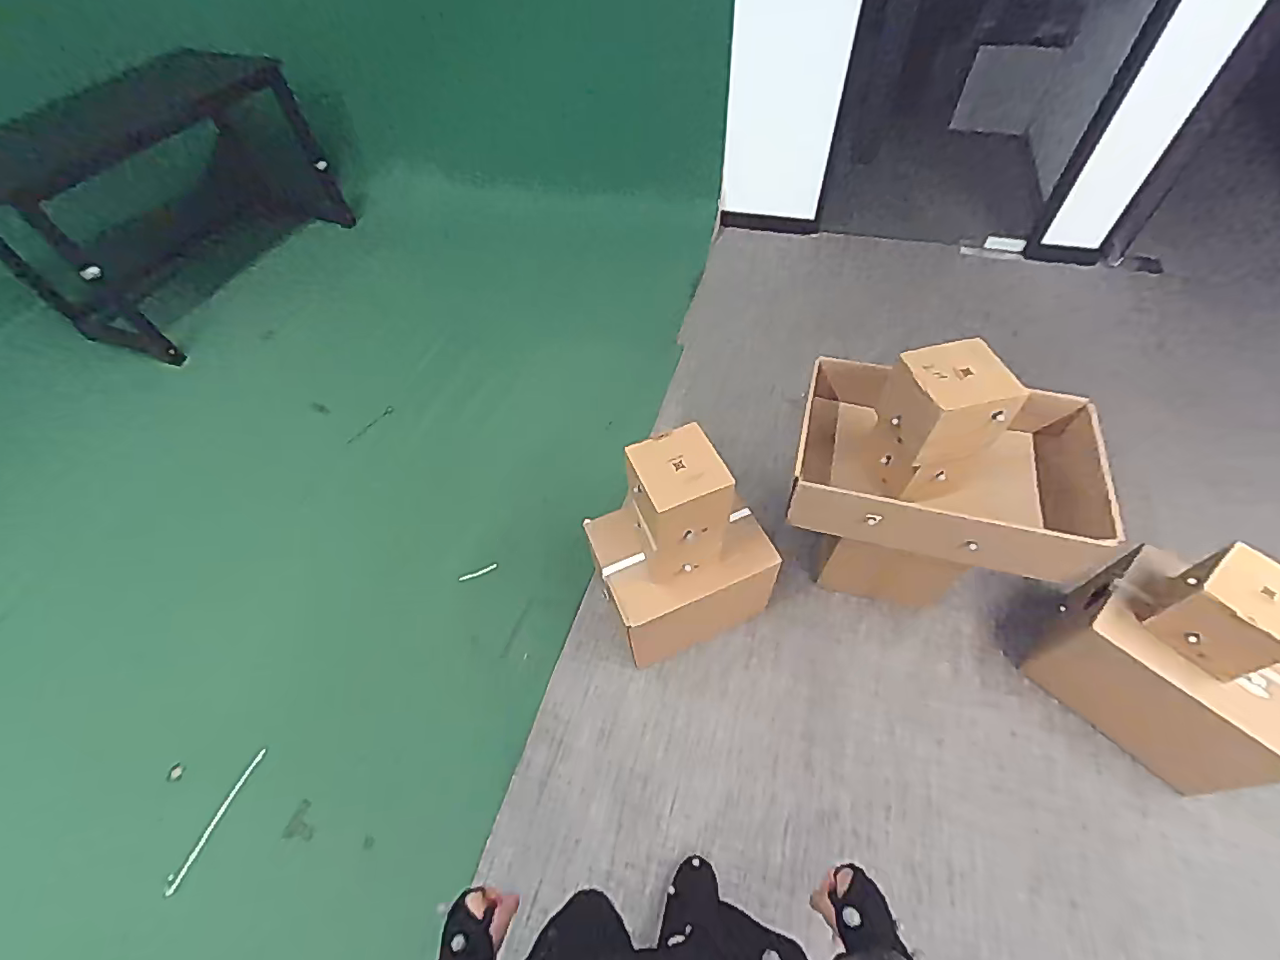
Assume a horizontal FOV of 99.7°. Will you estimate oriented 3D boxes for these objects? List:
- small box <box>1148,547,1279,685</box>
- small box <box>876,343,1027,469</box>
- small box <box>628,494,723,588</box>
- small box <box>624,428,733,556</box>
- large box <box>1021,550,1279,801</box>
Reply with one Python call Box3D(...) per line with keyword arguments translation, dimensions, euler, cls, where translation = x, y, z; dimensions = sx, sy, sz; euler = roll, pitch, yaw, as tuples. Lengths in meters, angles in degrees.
Box3D(translation=(1.184, 0.272, 1.076), dimensions=(0.179, 0.176, 0.168), euler=(-33, 59, -20), cls="small box")
Box3D(translation=(0.608, -0.145, 1.082), dimensions=(0.179, 0.176, 0.168), euler=(-12, 53, -4), cls="small box")
Box3D(translation=(0.077, 0.121, 1.256), dimensions=(0.168, 0.176, 0.179), euler=(-18, 55, -9), cls="small box")
Box3D(translation=(0.075, 0.027, 1.123), dimensions=(0.168, 0.176, 0.179), euler=(-20, 55, -10), cls="small box")
Box3D(translation=(1.218, 0.446, 1.249), dimensions=(0.320, 0.320, 0.408), euler=(-37, 61, -21), cls="large box")
